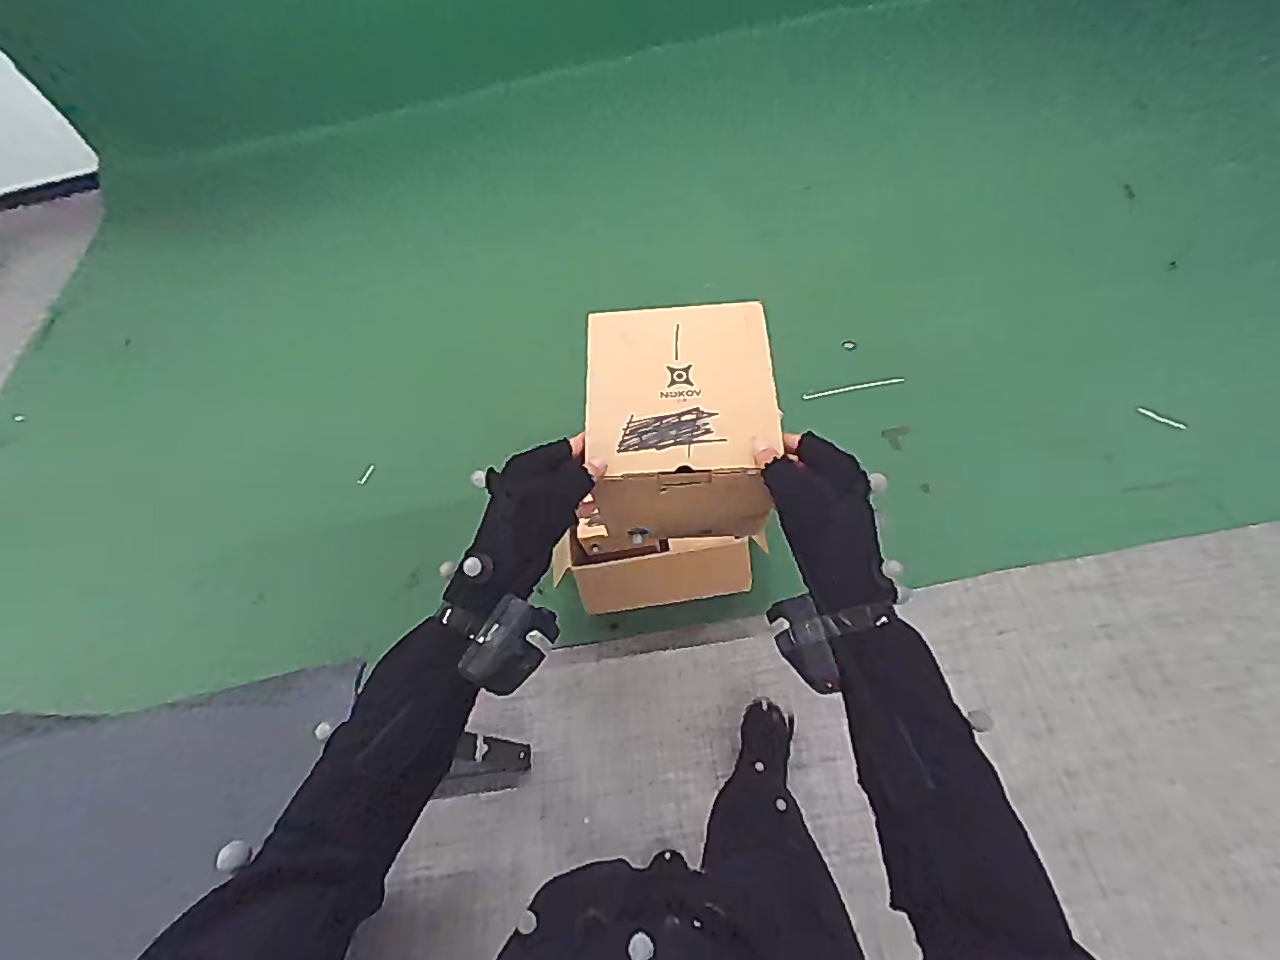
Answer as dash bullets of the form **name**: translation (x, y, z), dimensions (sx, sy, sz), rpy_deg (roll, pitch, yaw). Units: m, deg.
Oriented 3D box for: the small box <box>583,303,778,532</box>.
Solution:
- **small box**: translation (0.040, -0.051, 0.552), dimensions (0.168, 0.176, 0.179), rpy_deg (-3, 64, 4)
